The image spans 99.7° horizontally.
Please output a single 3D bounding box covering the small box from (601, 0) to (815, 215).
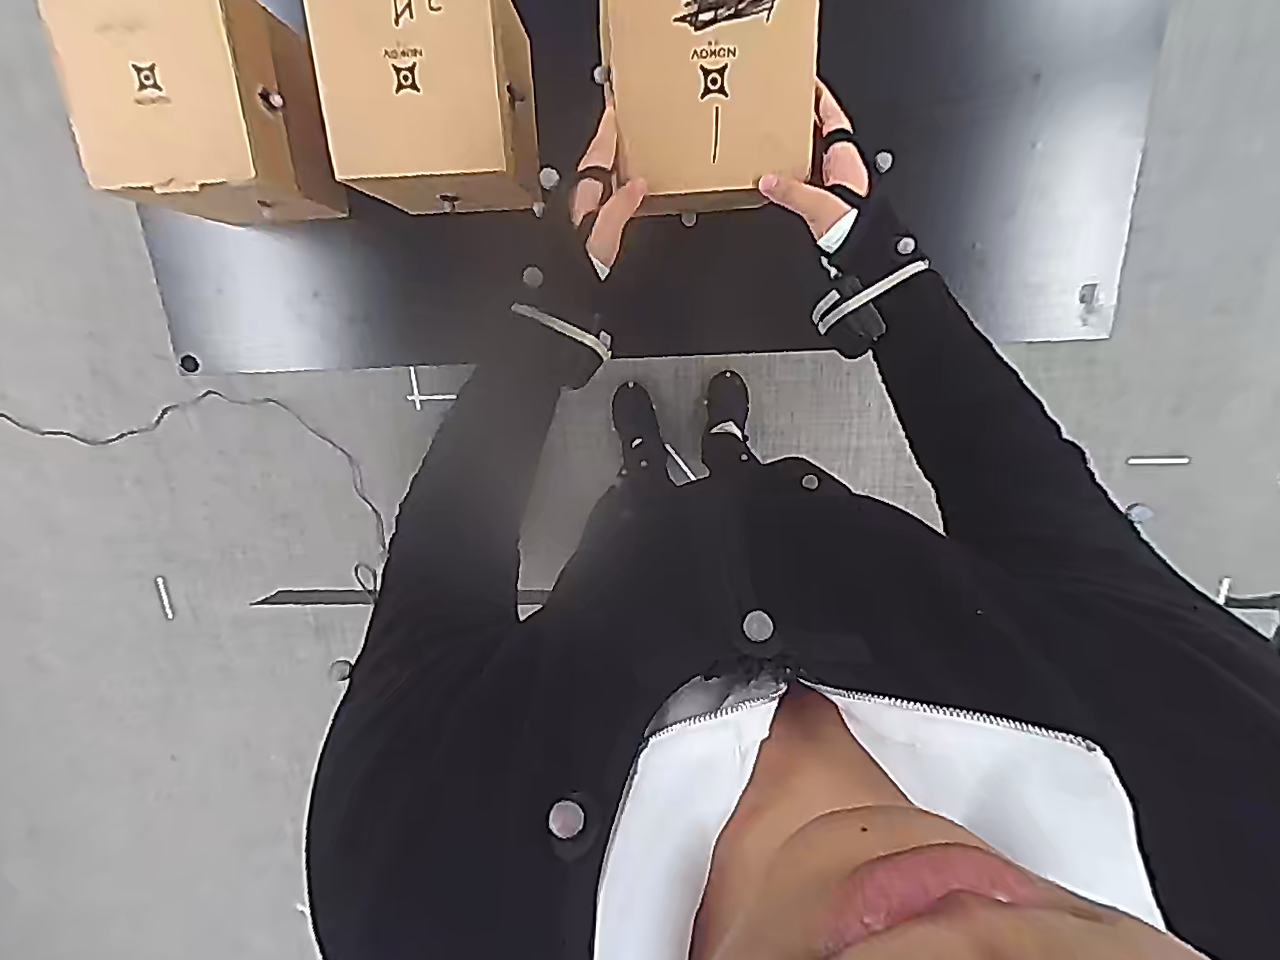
[{"bbox_3d":[0.052,-0.359,0.508,0.168,0.176,0.179,-5,111,-3],"label":"small box"}]

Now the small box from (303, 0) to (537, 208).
[{"bbox_3d":[-0.208,-0.390,0.559,0.168,0.176,0.179,-2,106,1],"label":"small box"}]

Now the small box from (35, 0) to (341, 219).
[{"bbox_3d":[-0.447,-0.384,0.570,0.168,0.176,0.179,-3,105,1],"label":"small box"}]
